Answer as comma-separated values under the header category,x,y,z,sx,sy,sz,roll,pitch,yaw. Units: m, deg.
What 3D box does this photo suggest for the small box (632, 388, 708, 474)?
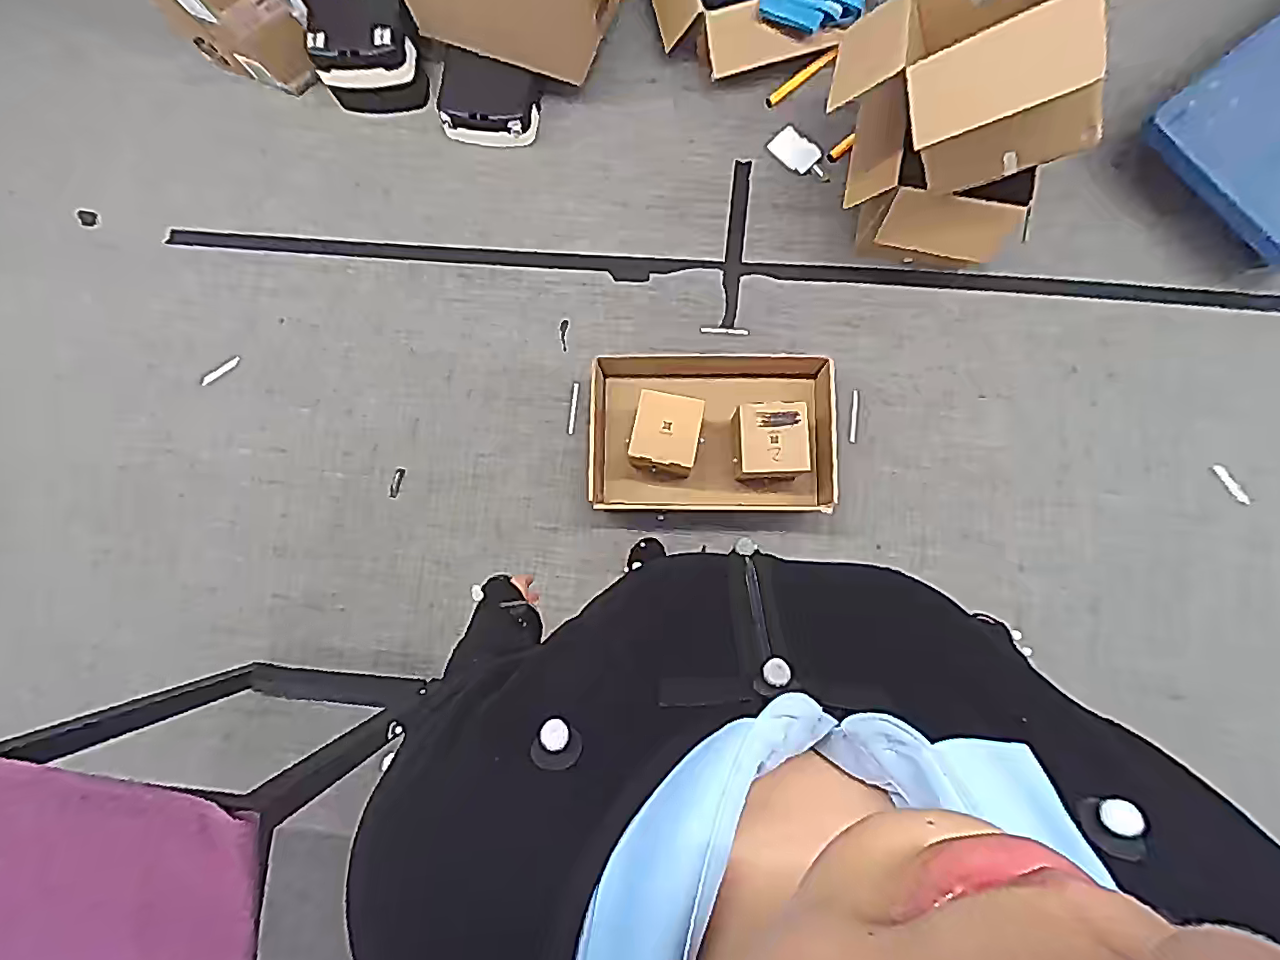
category,x,y,z,sx,sy,sz,roll,pitch,yaw
small box,0.075,-0.123,1.417,0.168,0.176,0.179,11,84,3
